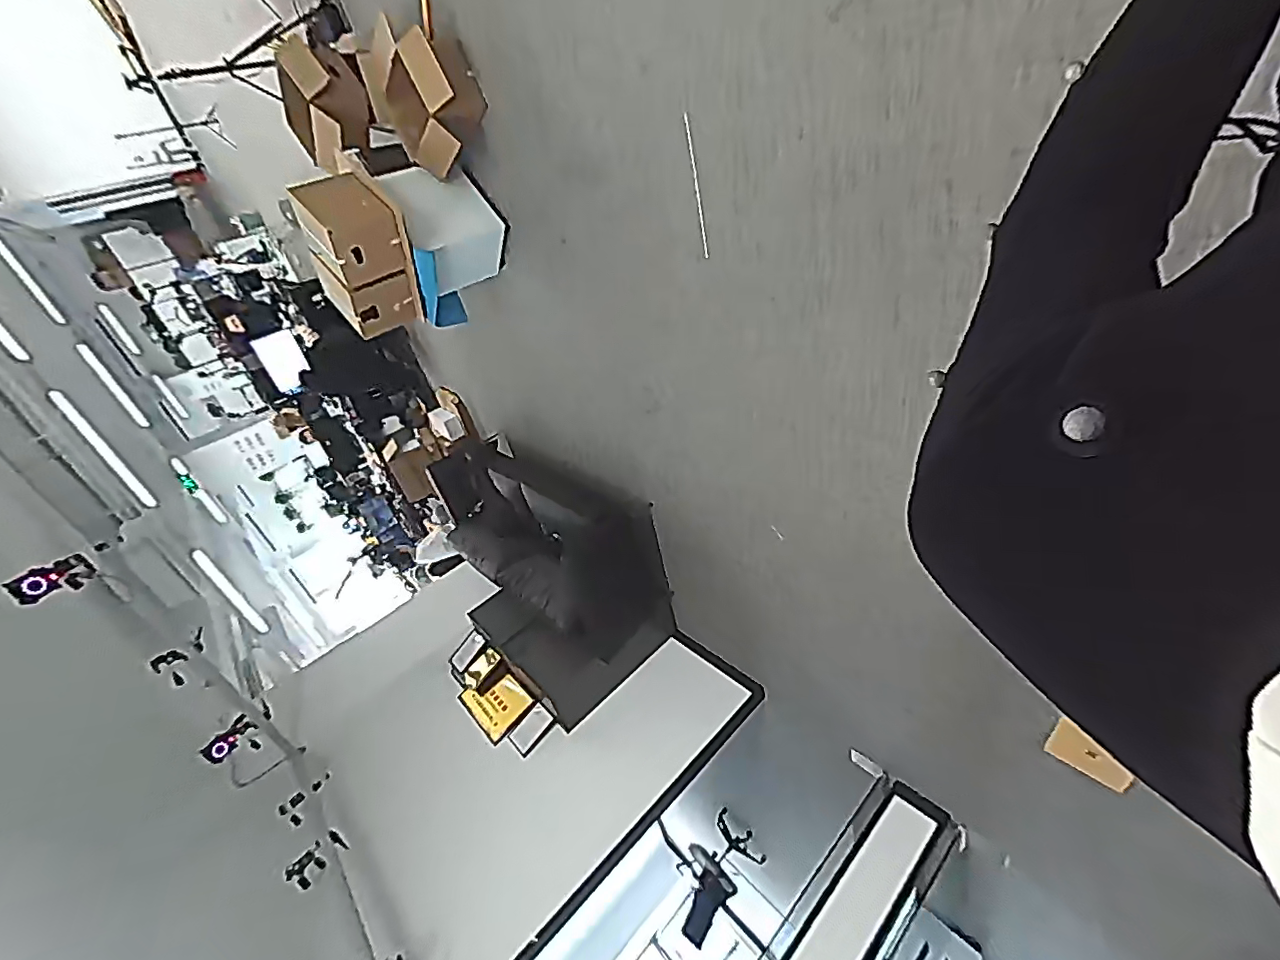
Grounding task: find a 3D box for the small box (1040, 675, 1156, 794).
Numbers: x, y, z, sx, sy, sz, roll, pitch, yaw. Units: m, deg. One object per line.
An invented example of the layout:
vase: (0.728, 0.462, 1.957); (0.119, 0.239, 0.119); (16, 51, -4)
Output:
small box: (1.149, 0.630, 1.356); (0.168, 0.176, 0.179); (27, 140, 39)
